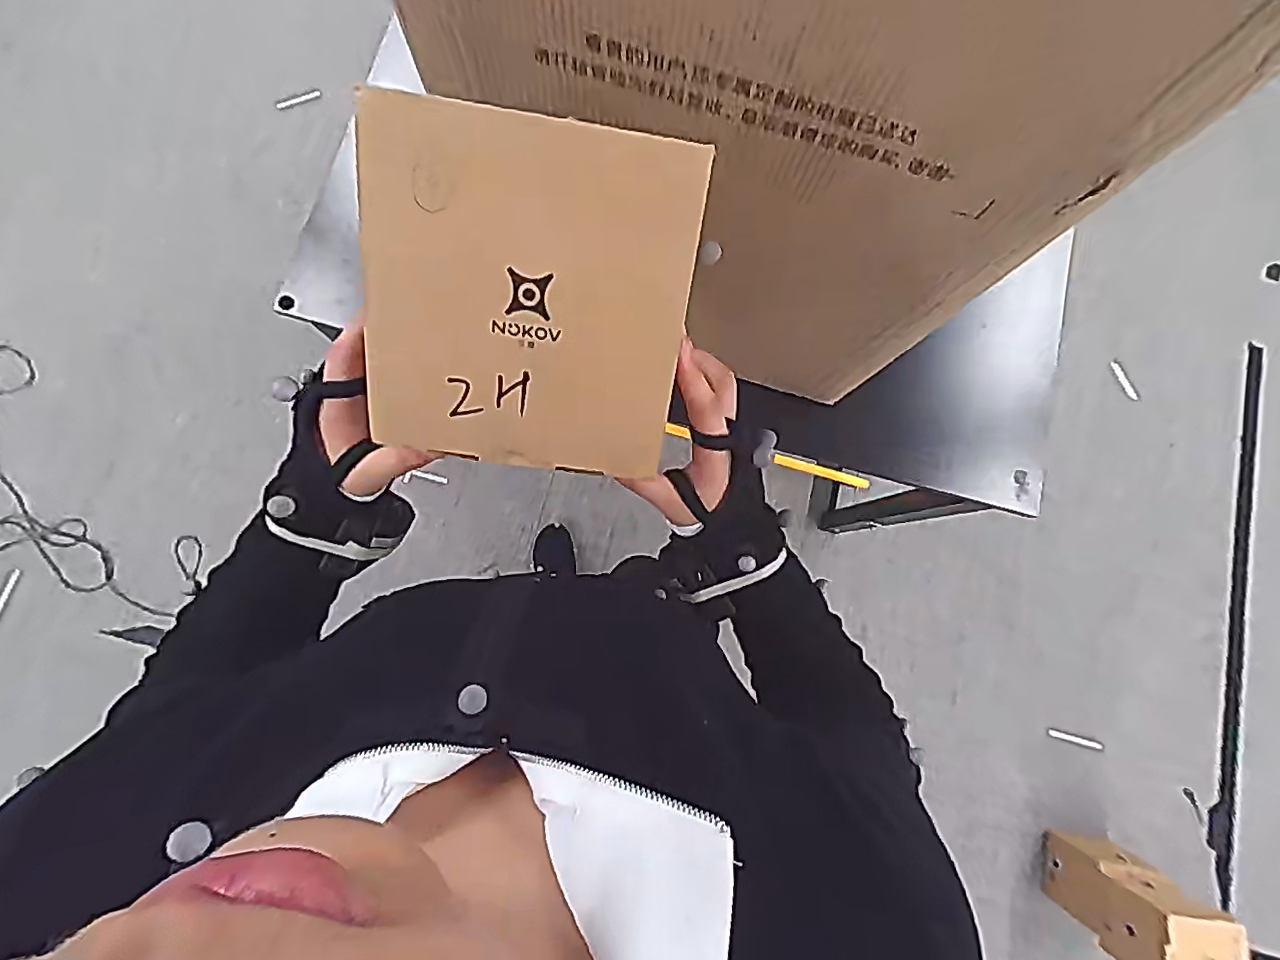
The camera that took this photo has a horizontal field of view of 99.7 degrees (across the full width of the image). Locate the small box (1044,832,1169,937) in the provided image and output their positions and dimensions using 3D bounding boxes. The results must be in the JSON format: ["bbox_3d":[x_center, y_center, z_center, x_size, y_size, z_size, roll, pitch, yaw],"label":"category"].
[{"bbox_3d":[1.168,1.019,1.361,0.179,0.176,0.168,9,80,0],"label":"small box"}]

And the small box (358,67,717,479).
[{"bbox_3d":[-0.058,-0.121,0.348,0.168,0.176,0.179,8,113,-3],"label":"small box"}]

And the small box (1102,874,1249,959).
[{"bbox_3d":[1.172,1.010,1.196,0.179,0.176,0.168,8,80,-1],"label":"small box"}]
